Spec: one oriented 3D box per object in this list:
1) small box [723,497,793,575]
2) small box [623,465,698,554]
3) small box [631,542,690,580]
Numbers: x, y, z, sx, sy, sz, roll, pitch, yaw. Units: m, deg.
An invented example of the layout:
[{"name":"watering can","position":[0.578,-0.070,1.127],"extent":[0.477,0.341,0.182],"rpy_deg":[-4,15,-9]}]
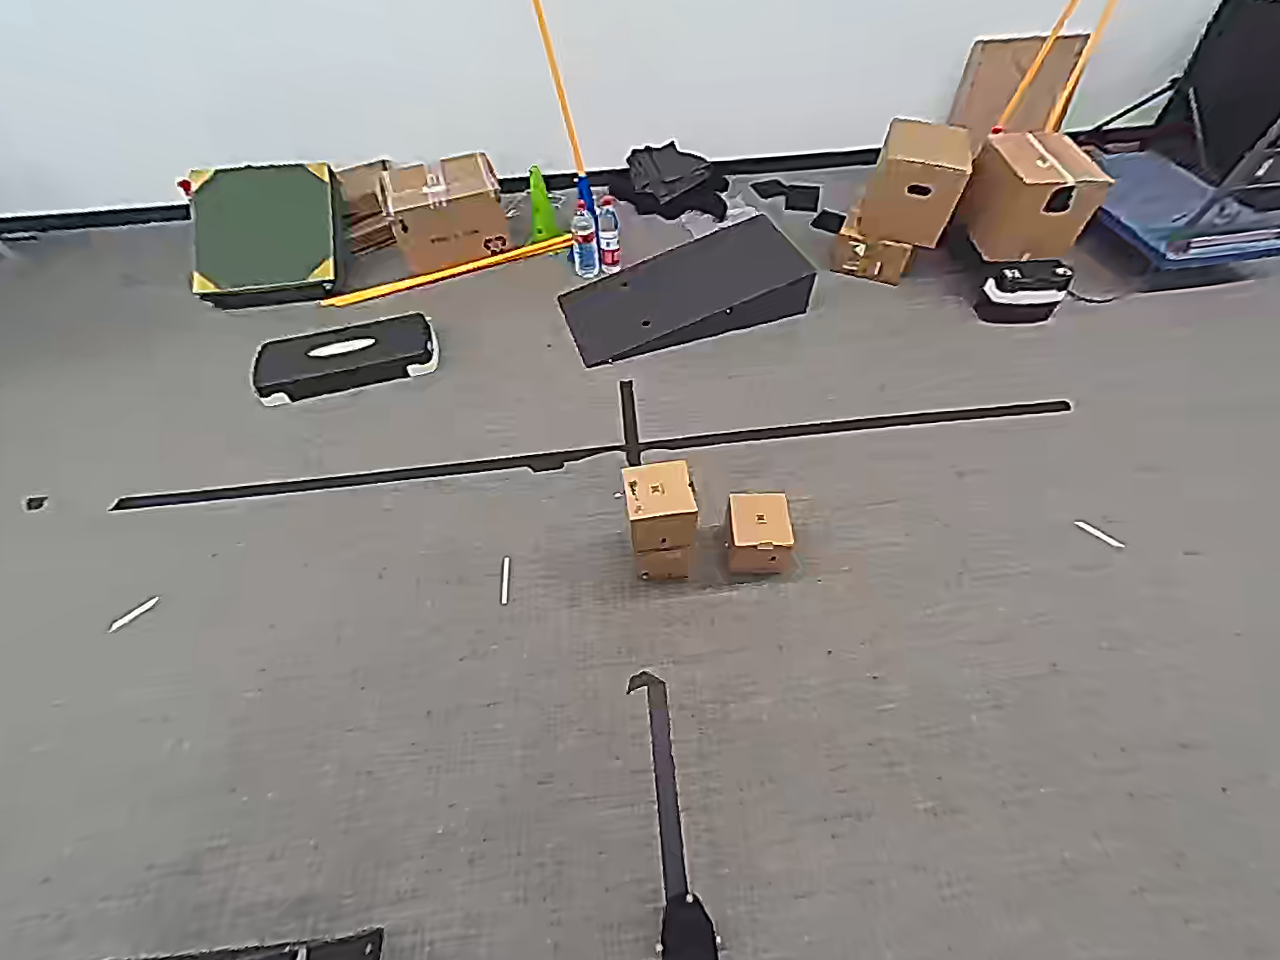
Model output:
[{"name":"small box","position":[0.339,0.168,1.586],"extent":[0.168,0.176,0.179],"rpy_deg":[0,53,0]},{"name":"small box","position":[0.048,0.082,1.450],"extent":[0.179,0.176,0.168],"rpy_deg":[-6,53,-4]},{"name":"small box","position":[0.057,0.182,1.580],"extent":[0.168,0.176,0.179],"rpy_deg":[-3,53,-1]}]
